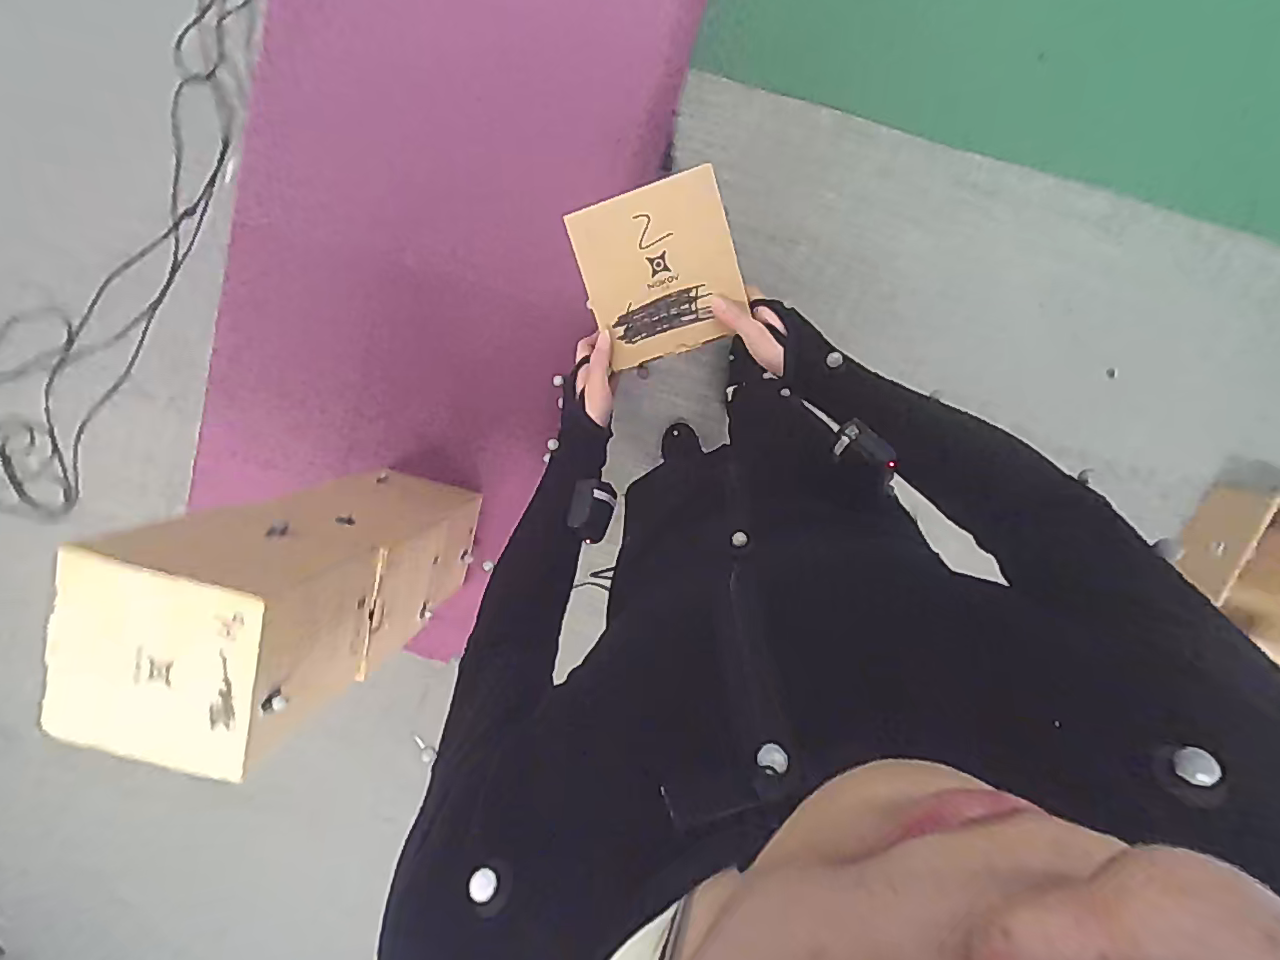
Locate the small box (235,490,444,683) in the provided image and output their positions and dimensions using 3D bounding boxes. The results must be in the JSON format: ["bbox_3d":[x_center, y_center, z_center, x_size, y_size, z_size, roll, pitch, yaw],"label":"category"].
[{"bbox_3d":[-0.369,0.119,0.675,0.179,0.176,0.168,15,99,3],"label":"small box"}]

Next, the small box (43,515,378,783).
[{"bbox_3d":[-0.387,0.139,0.513,0.179,0.176,0.168,14,99,2],"label":"small box"}]

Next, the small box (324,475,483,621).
[{"bbox_3d":[-0.368,0.094,0.837,0.179,0.176,0.168,14,99,0],"label":"small box"}]

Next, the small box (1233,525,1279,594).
[{"bbox_3d":[1.747,0.230,1.412,0.179,0.176,0.168,21,98,-1],"label":"small box"}]
